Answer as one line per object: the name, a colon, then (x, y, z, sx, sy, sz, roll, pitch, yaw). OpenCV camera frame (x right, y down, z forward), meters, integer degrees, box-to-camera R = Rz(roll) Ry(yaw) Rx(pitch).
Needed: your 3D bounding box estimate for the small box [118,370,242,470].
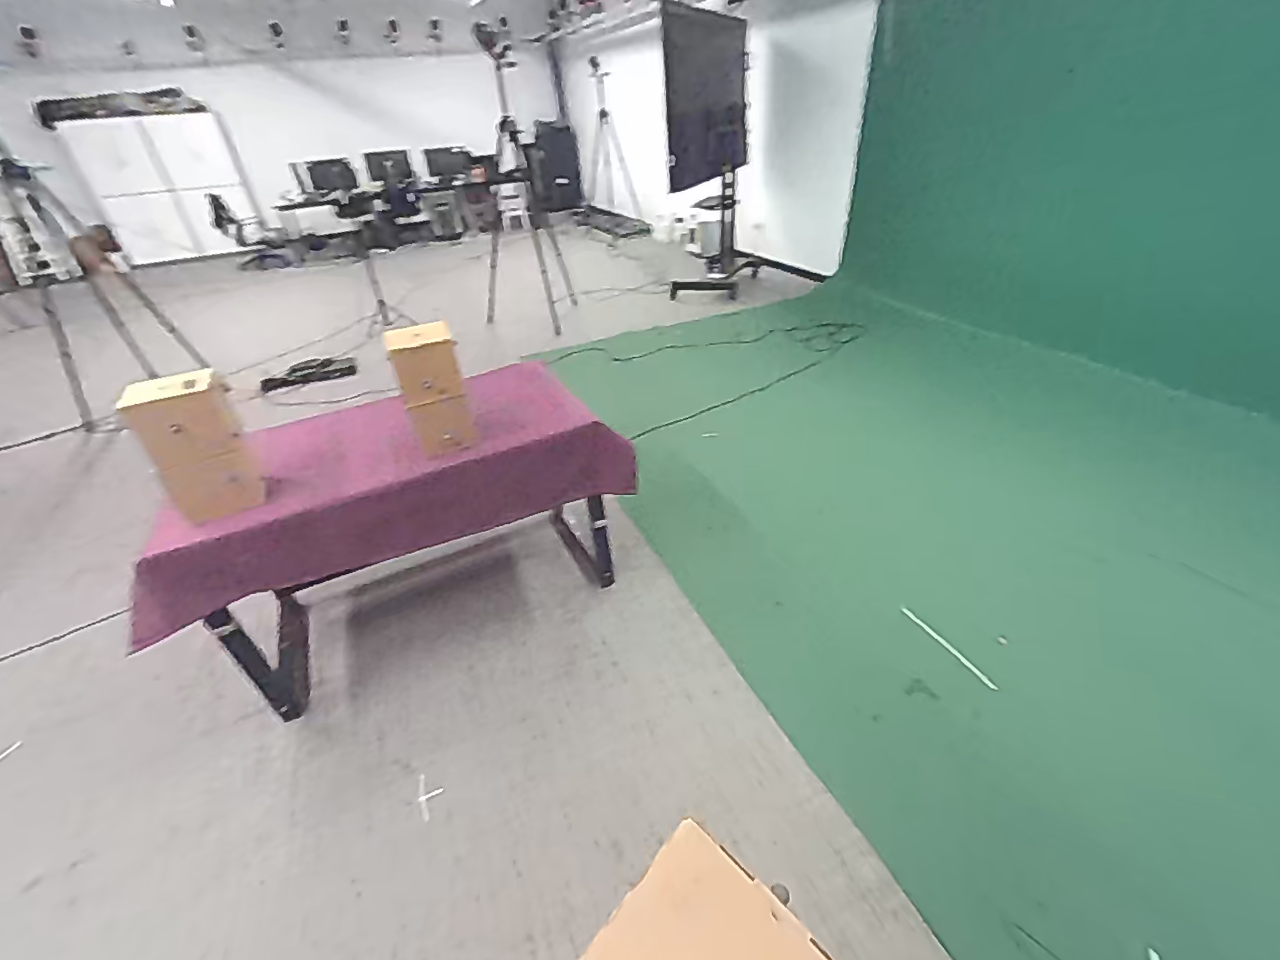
small box: (-1.115, -0.149, 1.331, 0.179, 0.176, 0.168, -21, 37, -22)

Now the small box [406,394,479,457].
small box: (-0.594, -0.192, 1.619, 0.168, 0.176, 0.179, -18, 37, -17)

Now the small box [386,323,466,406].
small box: (-0.603, -0.327, 1.527, 0.168, 0.176, 0.179, -18, 37, -18)
